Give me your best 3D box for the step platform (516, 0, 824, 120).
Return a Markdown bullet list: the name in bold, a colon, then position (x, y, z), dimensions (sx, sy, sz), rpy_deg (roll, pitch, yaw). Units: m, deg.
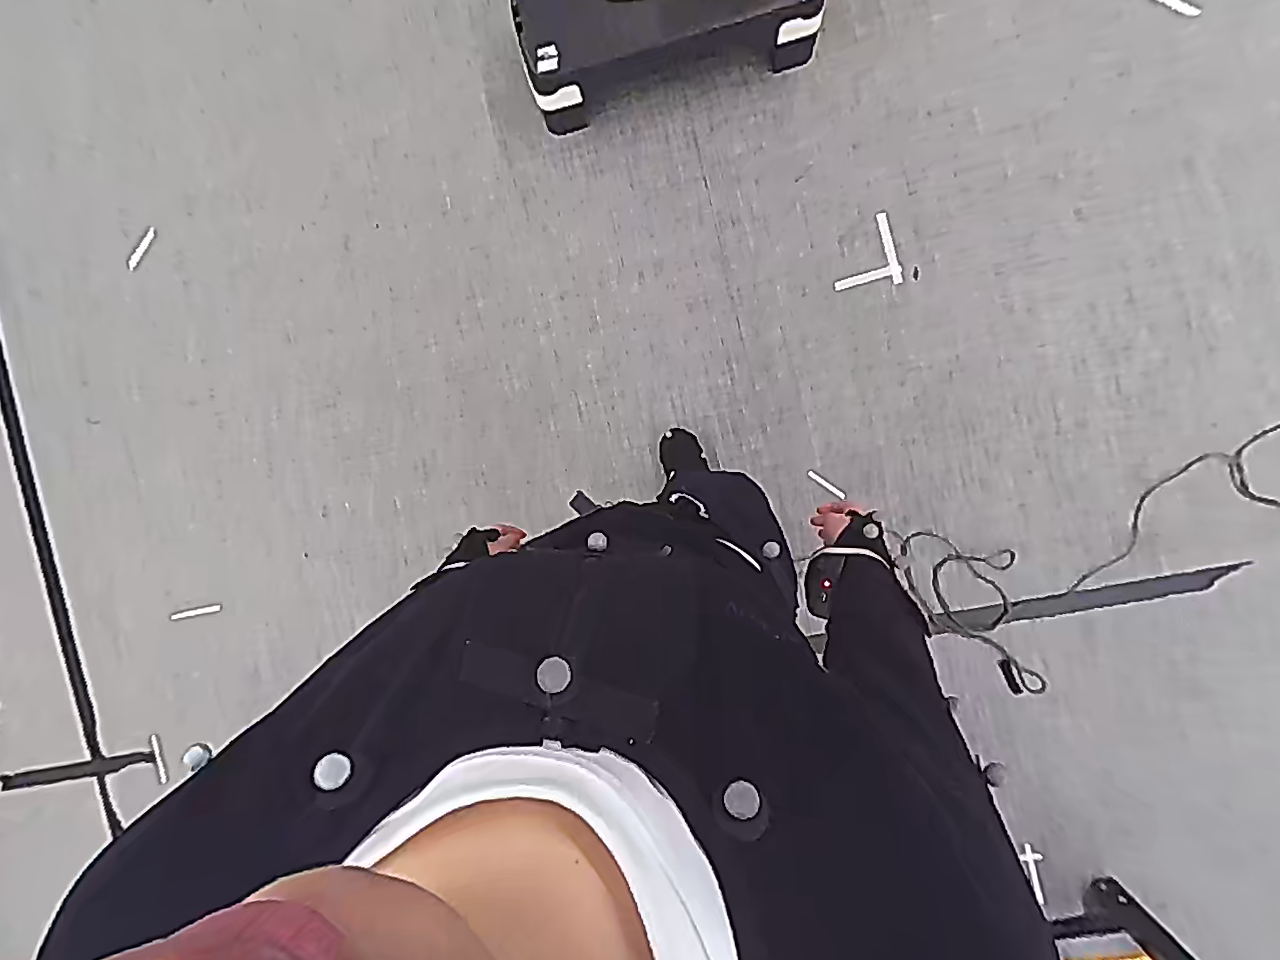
- **step platform**: position (0.064, -1.092, 1.226), dimensions (0.684, 0.204, 0.286), rpy_deg (-13, 91, 7)
